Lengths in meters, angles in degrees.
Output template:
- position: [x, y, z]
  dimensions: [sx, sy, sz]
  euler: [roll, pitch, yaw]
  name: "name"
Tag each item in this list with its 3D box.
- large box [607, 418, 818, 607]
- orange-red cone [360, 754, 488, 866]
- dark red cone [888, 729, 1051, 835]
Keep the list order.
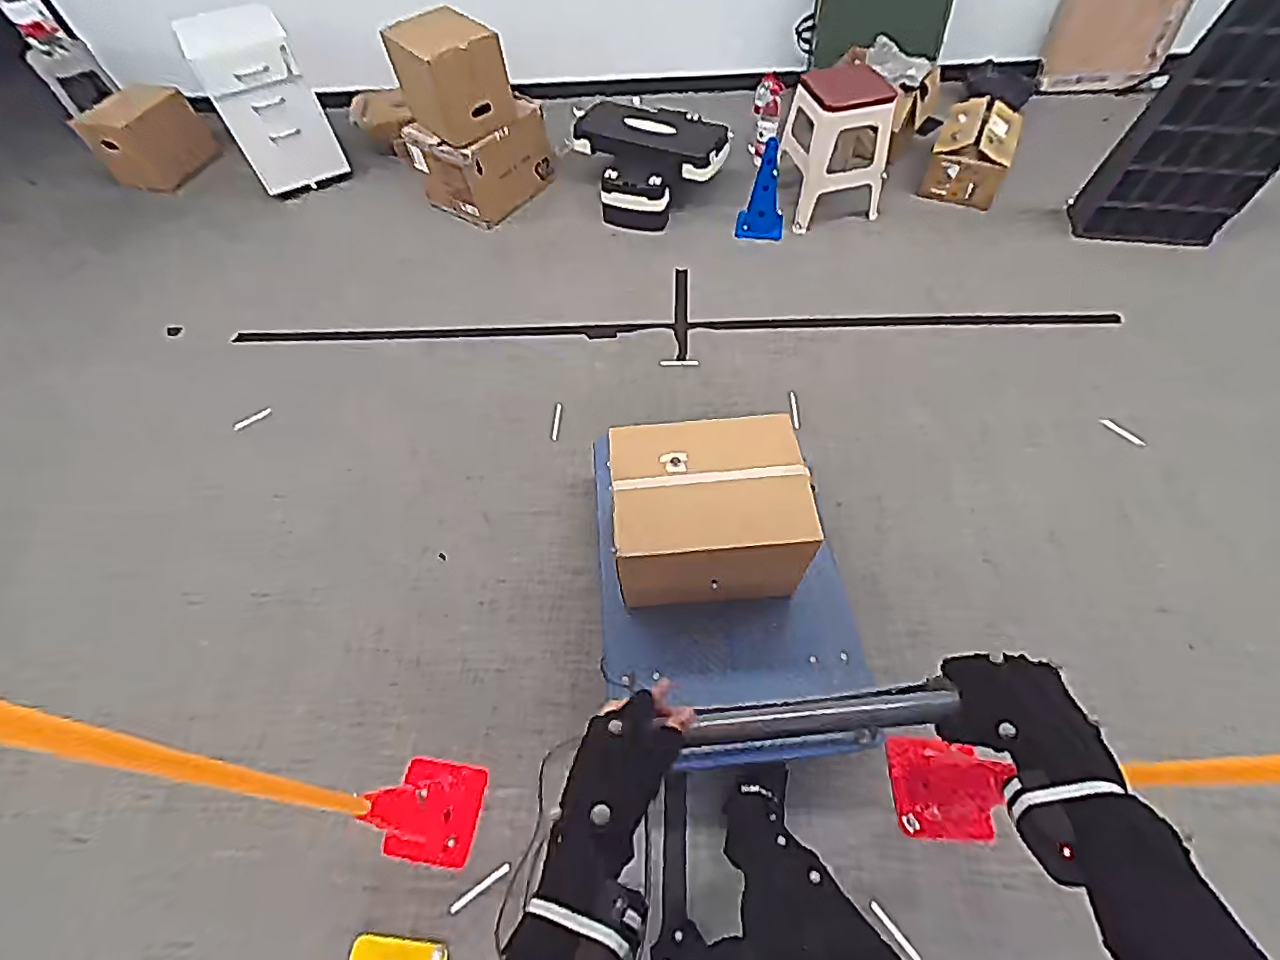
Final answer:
- position: [0.146, 0.087, 1.247]
  dimensions: [0.408, 0.320, 0.320]
  euler: [-5, 58, 0]
  name: "large box"
- position: [-0.469, 0.654, 1.092]
  dimensions: [0.198, 0.360, 0.199]
  euler: [7, 57, 6]
  name: "orange-red cone"
- position: [0.662, 0.576, 1.057]
  dimensions: [0.201, 0.394, 0.202]
  euler: [1, 58, 2]
  name: "dark red cone"
